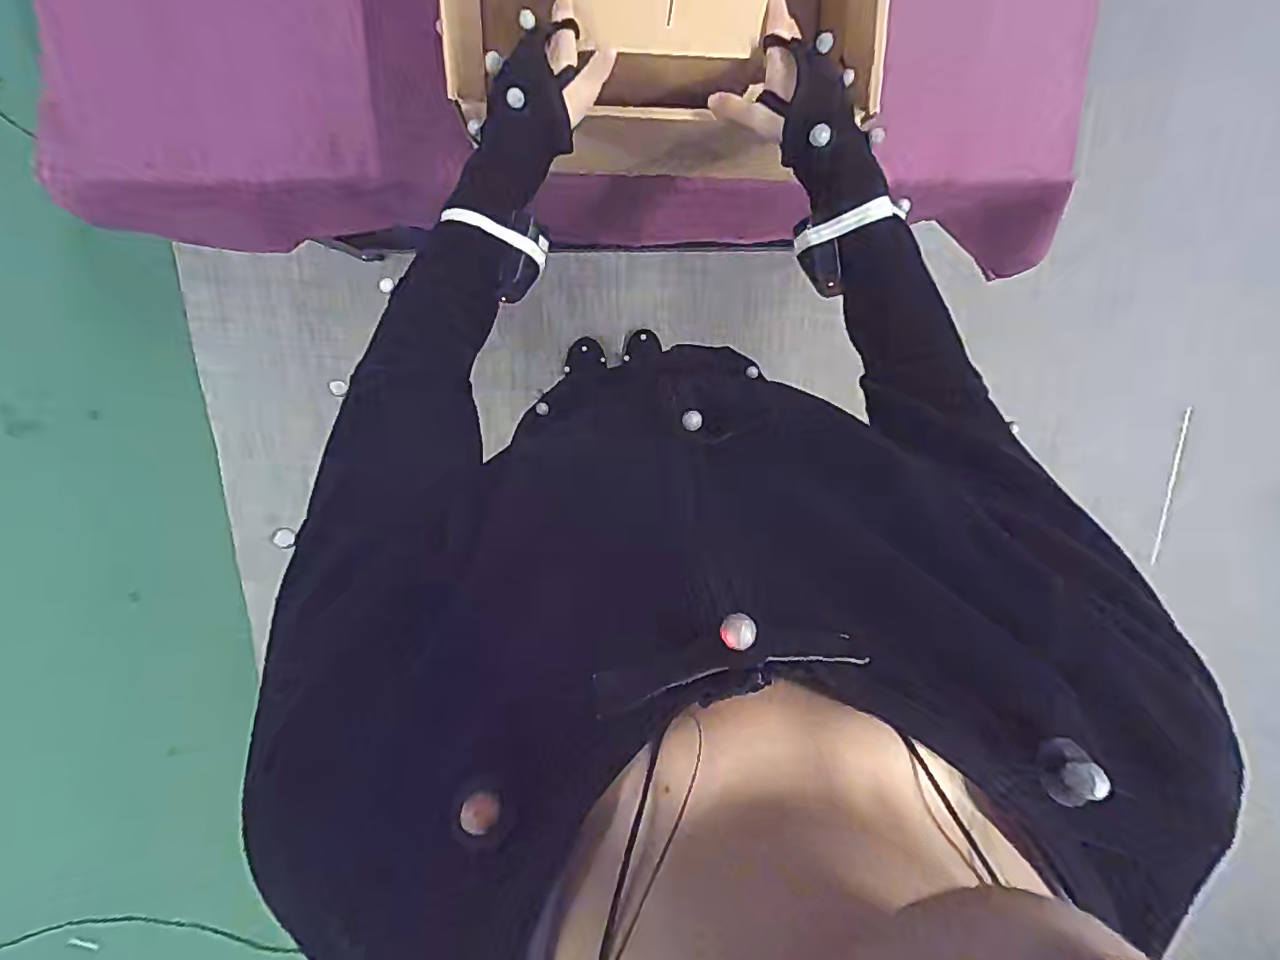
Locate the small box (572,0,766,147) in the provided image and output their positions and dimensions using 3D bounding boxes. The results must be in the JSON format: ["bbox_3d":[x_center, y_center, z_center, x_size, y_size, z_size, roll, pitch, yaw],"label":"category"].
[{"bbox_3d":[0.019,-0.453,0.521,0.168,0.176,0.179,0,103,-4],"label":"small box"}]
